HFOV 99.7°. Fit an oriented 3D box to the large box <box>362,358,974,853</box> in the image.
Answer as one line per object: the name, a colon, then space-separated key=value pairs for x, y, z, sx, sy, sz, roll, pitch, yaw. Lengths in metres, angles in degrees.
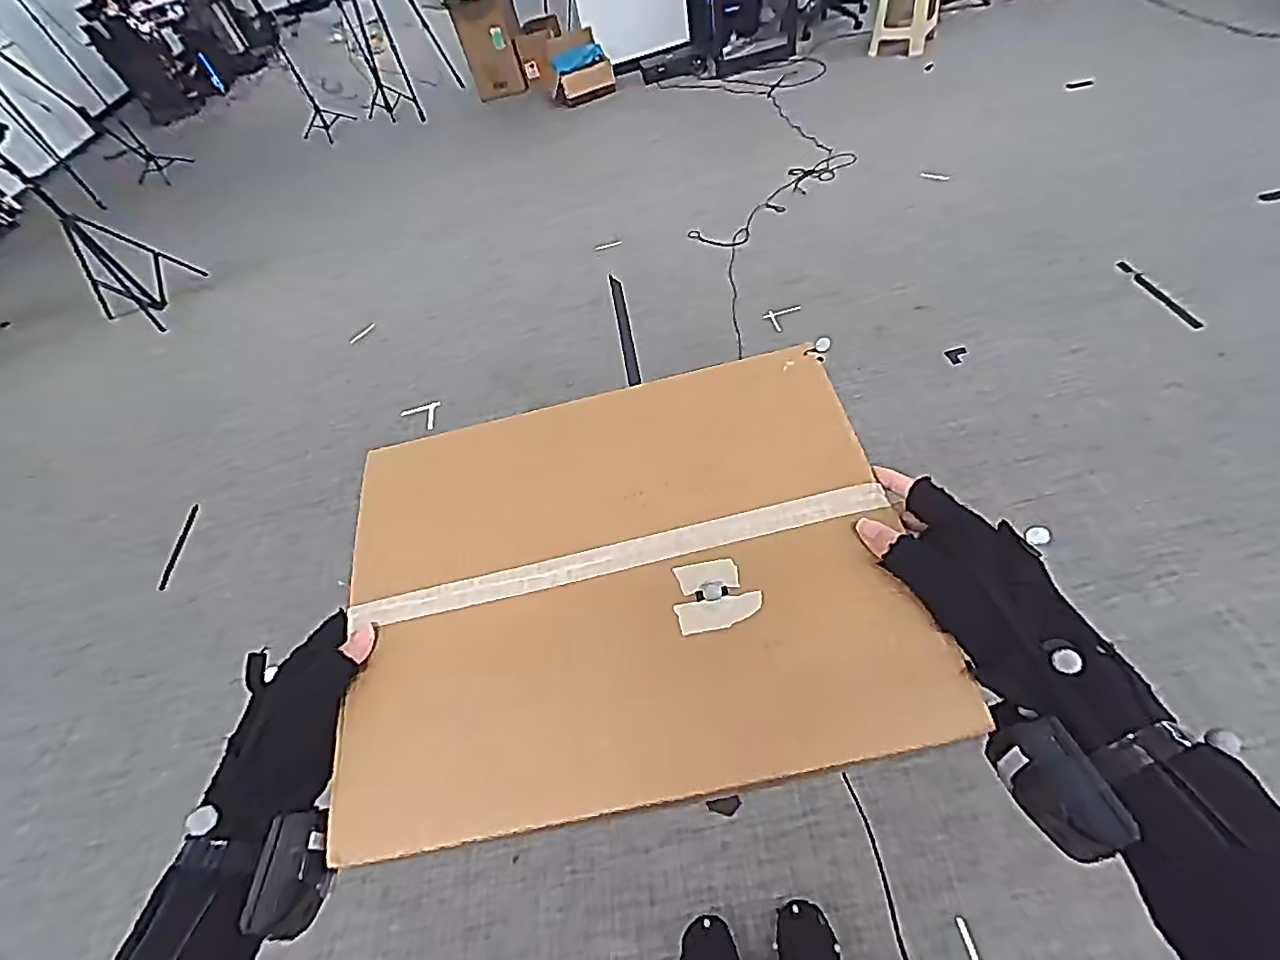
large box: x=0.009 y=0.137 z=0.539 sx=0.408 sy=0.320 sz=0.320 roll=-13 pitch=59 yaw=2
